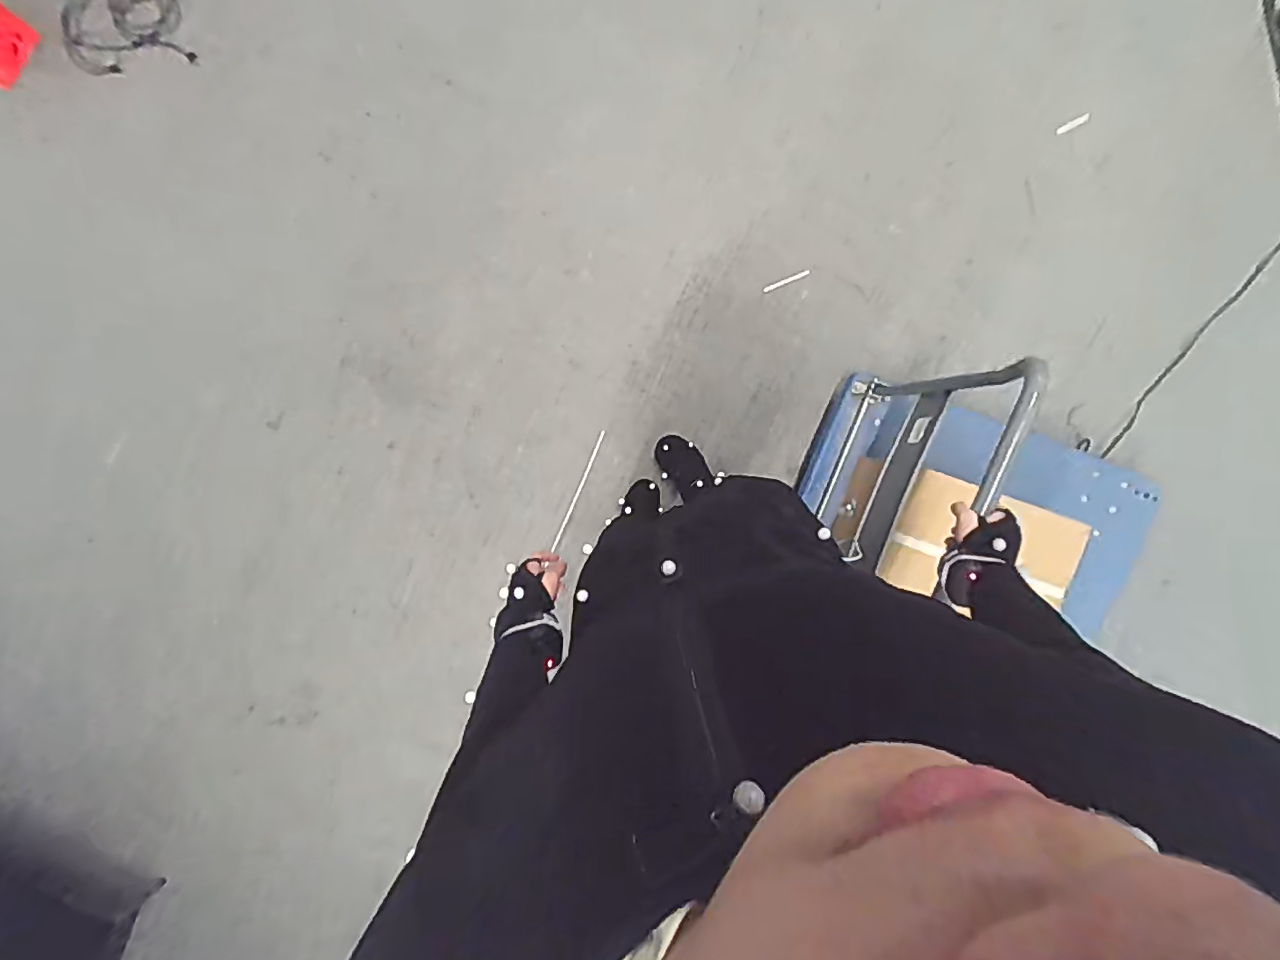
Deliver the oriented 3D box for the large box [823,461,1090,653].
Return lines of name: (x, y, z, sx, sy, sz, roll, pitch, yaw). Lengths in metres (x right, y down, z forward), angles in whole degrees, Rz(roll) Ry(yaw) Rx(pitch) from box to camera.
large box: (0.717, 0.159, 1.297, 0.408, 0.320, 0.320, 19, 95, 0)
